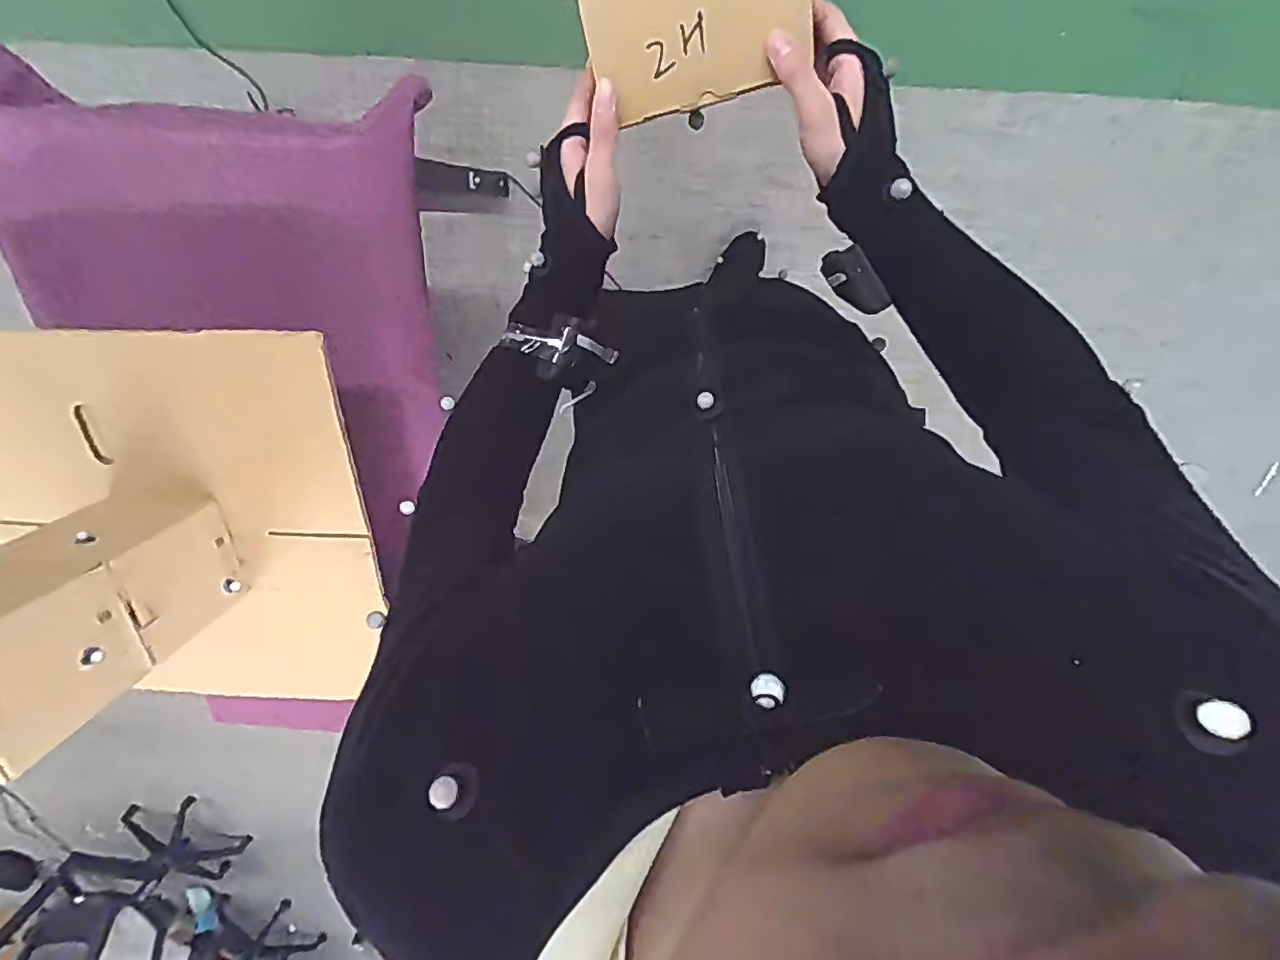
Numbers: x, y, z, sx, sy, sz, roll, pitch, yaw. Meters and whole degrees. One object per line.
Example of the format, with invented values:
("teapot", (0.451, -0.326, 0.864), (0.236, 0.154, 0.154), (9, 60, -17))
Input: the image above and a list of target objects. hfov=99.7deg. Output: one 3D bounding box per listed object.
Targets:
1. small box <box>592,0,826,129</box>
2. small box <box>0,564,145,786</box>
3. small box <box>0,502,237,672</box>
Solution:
("small box", (0.044, -0.404, 0.438), (0.168, 0.176, 0.179), (-10, 122, 7))
("small box", (-0.723, 0.205, 0.597), (0.179, 0.176, 0.168), (0, 113, 4))
("small box", (-0.702, 0.139, 0.744), (0.179, 0.176, 0.168), (2, 113, 5))
